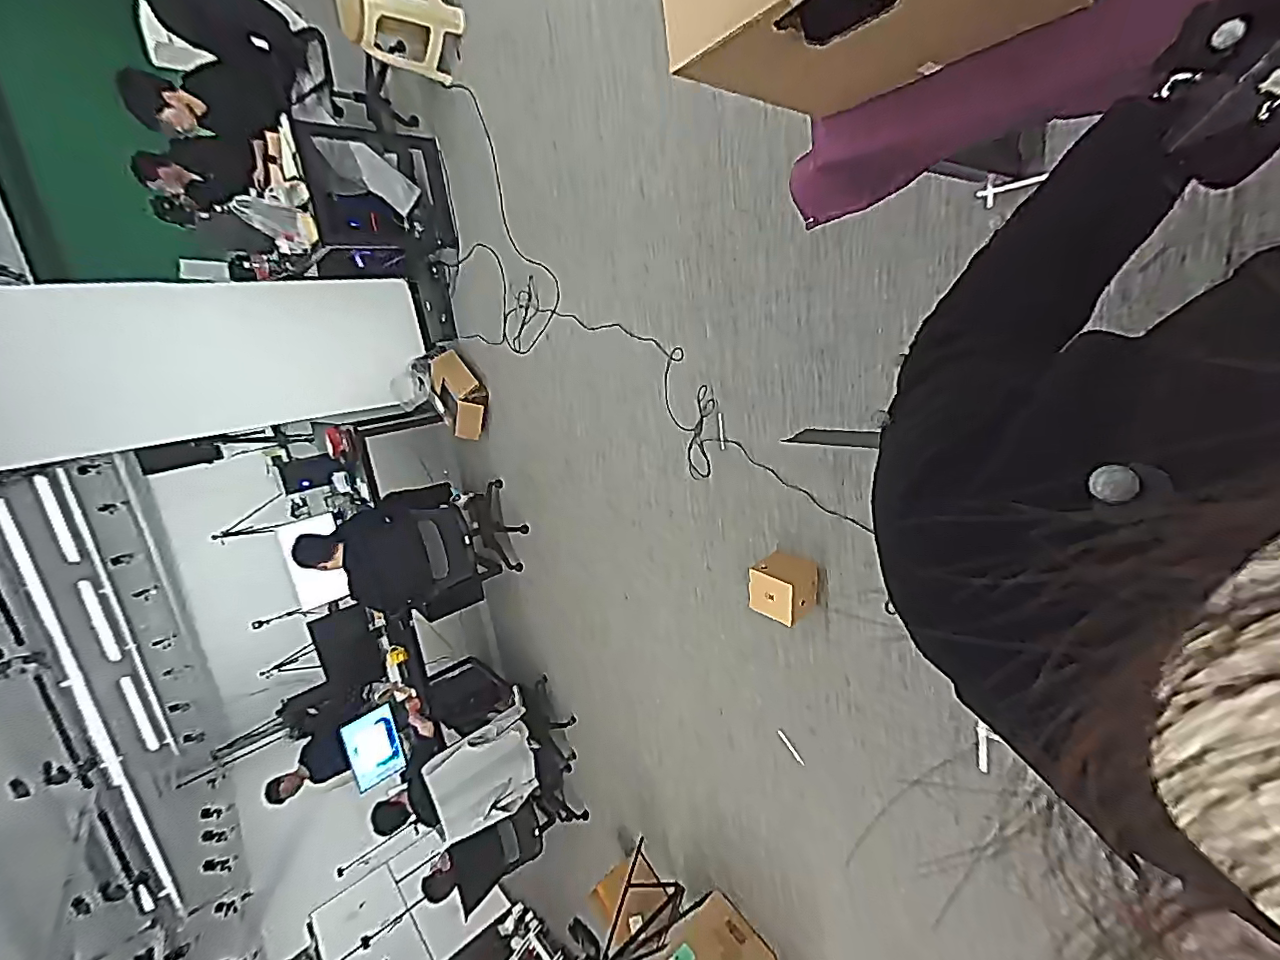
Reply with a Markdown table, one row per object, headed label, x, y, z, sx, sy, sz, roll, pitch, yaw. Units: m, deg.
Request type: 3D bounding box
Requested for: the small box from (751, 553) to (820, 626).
| label | x | y | z | sx | sy | sz | roll | pitch | yaw |
| --- | --- | --- | --- | --- | --- | --- | --- | --- | --- |
| small box | 0.512 | 0.376 | 1.898 | 0.179 | 0.176 | 0.168 | 18 | 119 | 46 |
